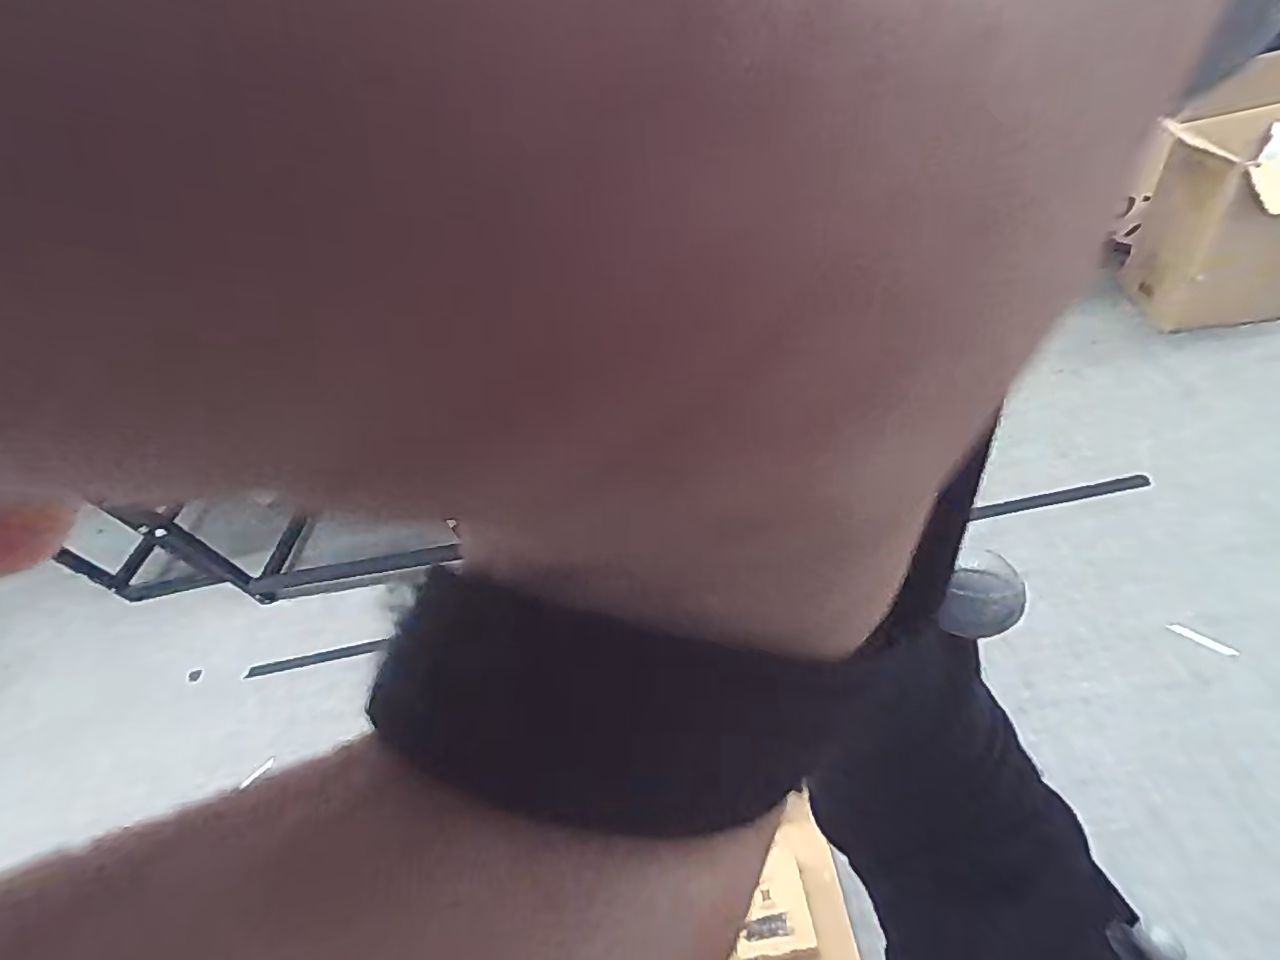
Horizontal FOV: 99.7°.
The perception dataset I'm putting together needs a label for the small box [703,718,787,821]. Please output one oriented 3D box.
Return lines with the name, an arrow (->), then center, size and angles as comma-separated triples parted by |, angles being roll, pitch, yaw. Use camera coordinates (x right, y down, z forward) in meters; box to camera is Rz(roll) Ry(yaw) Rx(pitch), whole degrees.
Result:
small box -> 0.271, 0.749, 1.396 | 0.168, 0.176, 0.179 | -17, 44, 5
